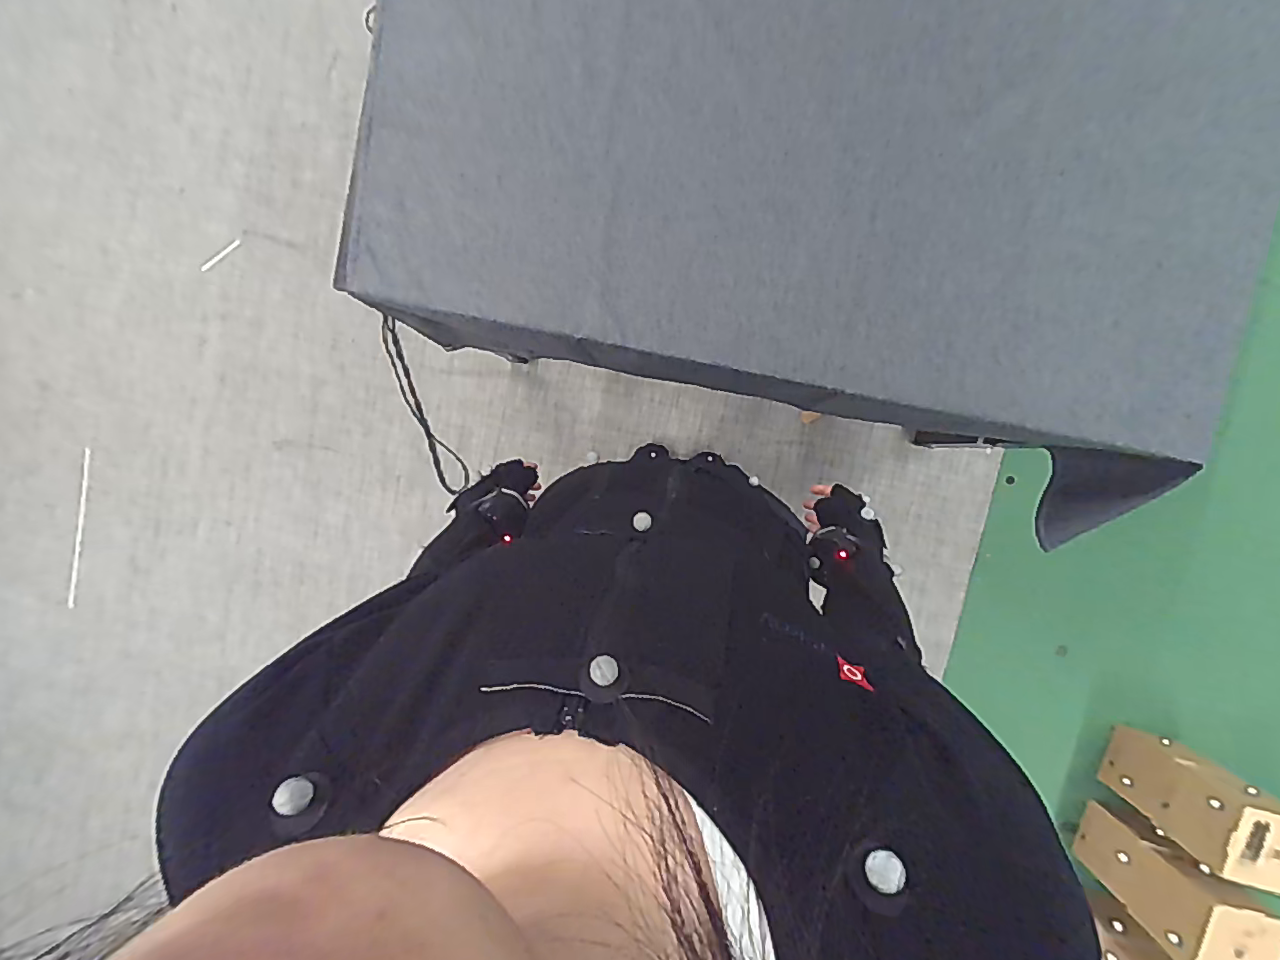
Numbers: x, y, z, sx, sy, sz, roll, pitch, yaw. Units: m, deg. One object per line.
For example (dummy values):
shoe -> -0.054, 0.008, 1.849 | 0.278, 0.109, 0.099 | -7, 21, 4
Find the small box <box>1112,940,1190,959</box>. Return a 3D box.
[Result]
small box -> 1.218, 1.213, 1.237 | 0.179, 0.176, 0.168 | 12, 95, 3

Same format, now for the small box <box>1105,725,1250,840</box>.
small box -> 1.341, 0.751, 1.365 | 0.179, 0.176, 0.168 | 17, 95, 3

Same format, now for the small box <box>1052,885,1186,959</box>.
small box -> 1.230, 1.202, 1.400 | 0.179, 0.176, 0.168 | 12, 95, 4
